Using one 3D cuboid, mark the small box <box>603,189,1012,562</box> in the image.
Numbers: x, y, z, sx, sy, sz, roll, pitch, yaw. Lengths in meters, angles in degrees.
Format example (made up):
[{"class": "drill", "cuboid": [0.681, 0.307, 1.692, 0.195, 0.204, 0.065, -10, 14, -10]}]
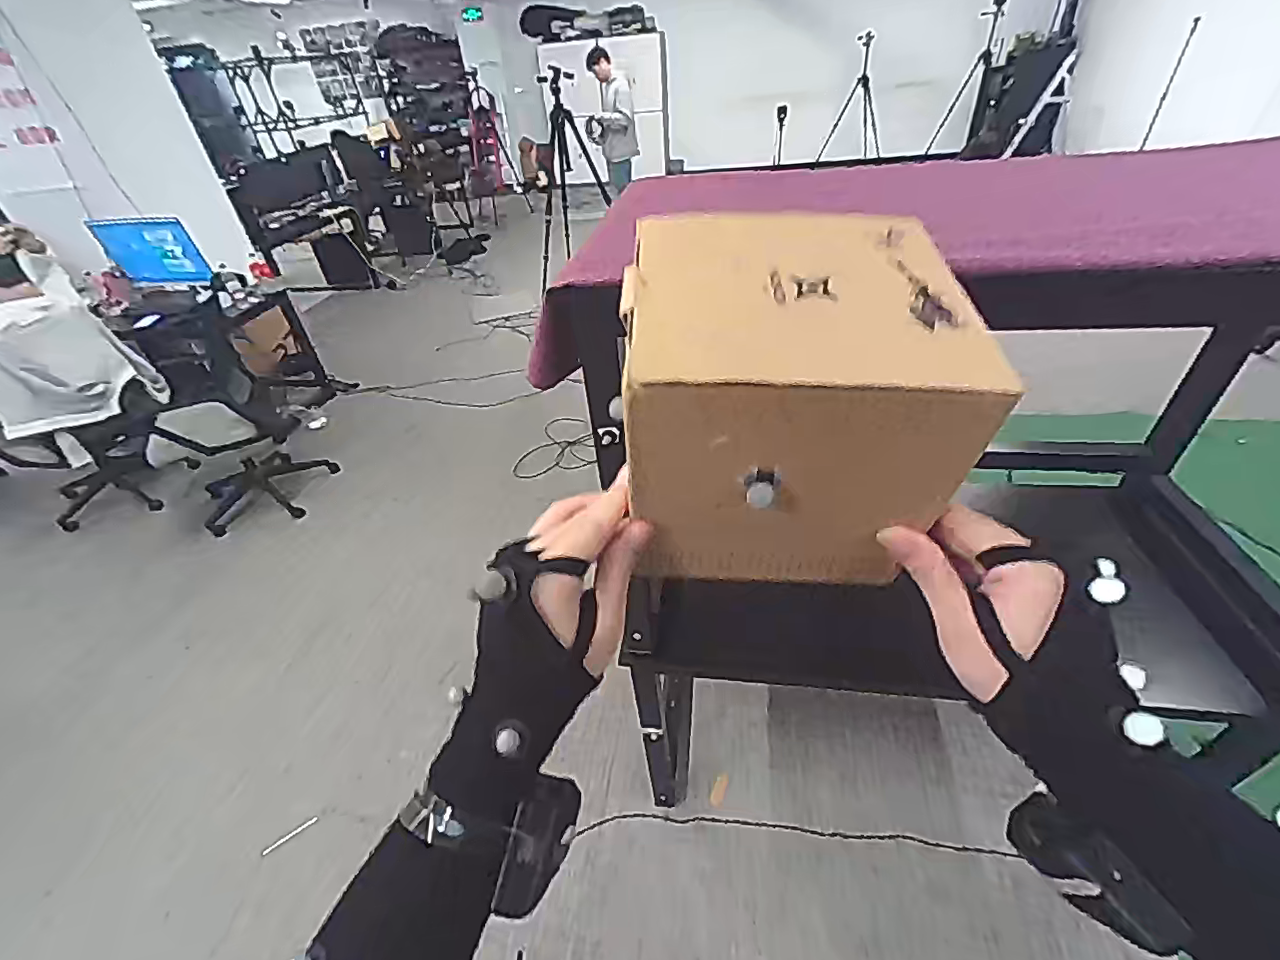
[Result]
[{"class": "small box", "cuboid": [0.078, -0.060, 0.342, 0.179, 0.176, 0.168, 1, 51, 4]}]
